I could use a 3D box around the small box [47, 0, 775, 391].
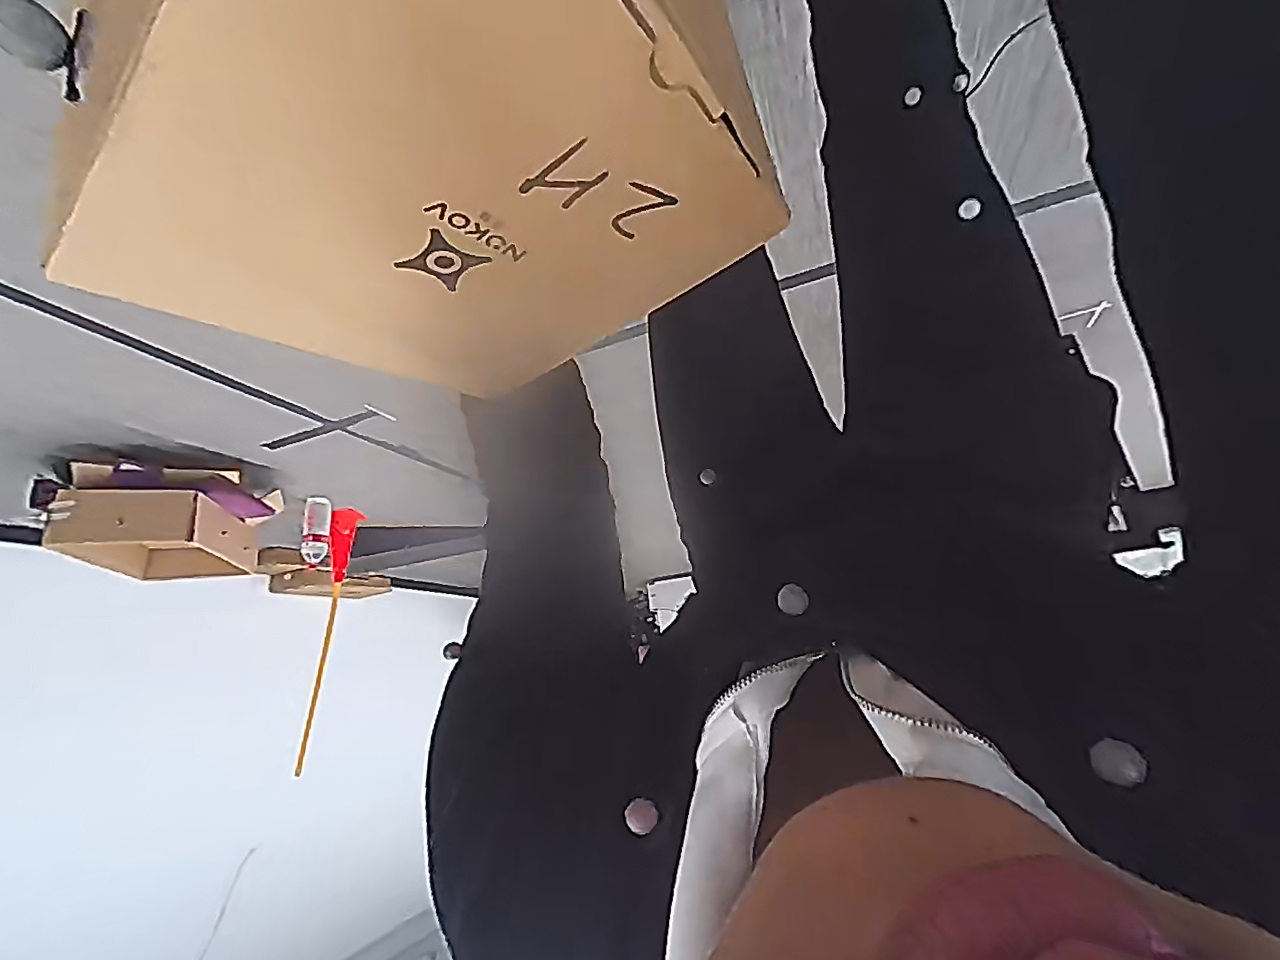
[{"bbox_3d":[-0.076,-0.159,0.202,0.179,0.176,0.168,-21,163,31],"label":"small box"}]
